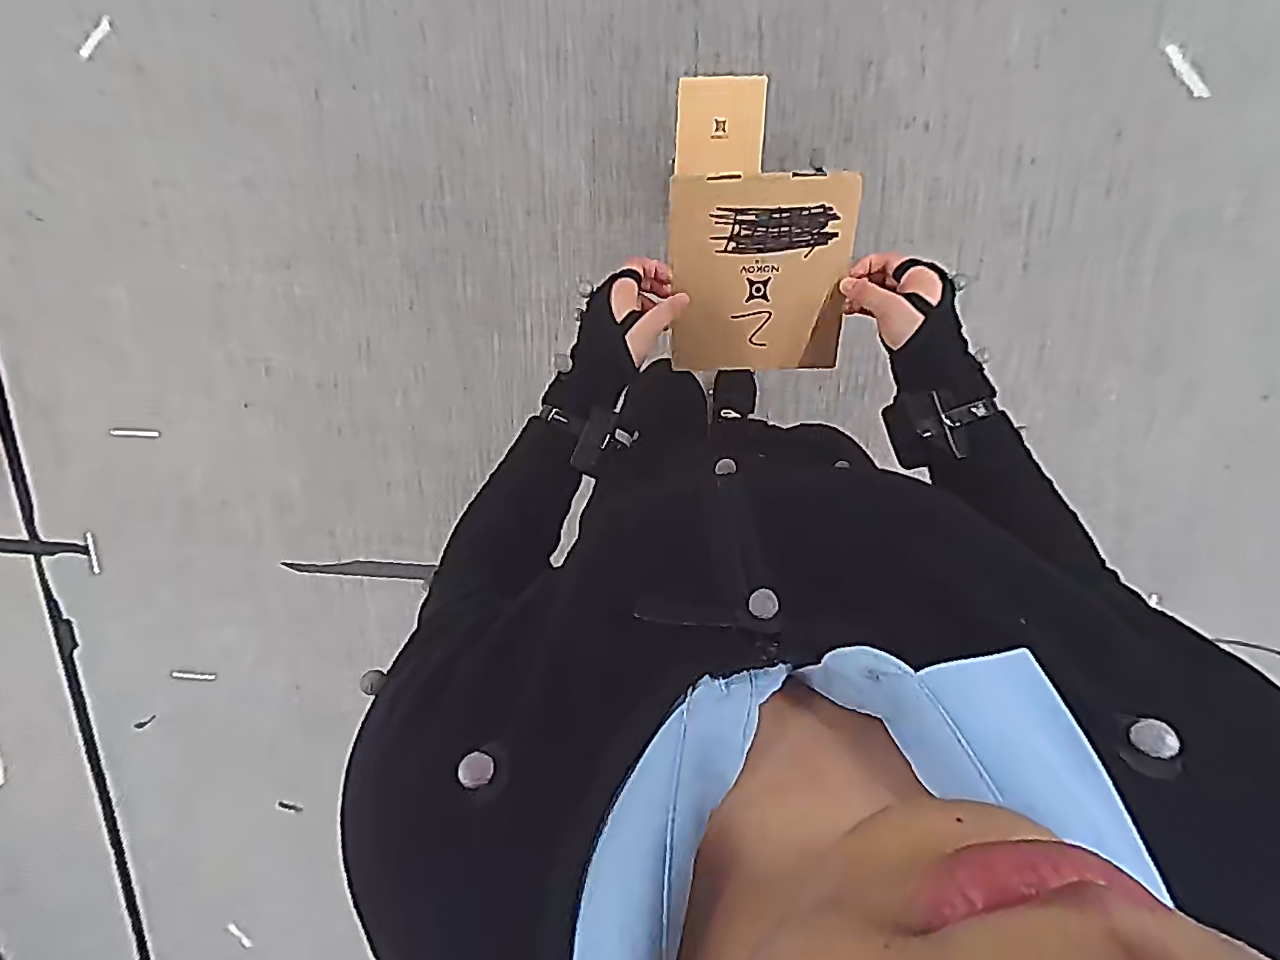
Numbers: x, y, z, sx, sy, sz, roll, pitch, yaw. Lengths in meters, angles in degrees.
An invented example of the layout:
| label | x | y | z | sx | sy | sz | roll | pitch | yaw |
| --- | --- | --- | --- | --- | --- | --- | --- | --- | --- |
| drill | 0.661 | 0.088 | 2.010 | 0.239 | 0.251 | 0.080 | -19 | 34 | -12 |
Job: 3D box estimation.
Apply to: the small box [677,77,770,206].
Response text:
| label | x | y | z | sx | sy | sz | roll | pitch | yaw |
| --- | --- | --- | --- | --- | --- | --- | --- | --- | --- |
| small box | 0.160 | -0.671 | 1.088 | 0.168 | 0.176 | 0.179 | 3 | 103 | 4 |

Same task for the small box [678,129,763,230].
| label | x | y | z | sx | sy | sz | roll | pitch | yaw |
| --- | --- | --- | --- | --- | --- | --- | --- | --- | --- |
| small box | 0.180 | -0.700 | 1.247 | 0.168 | 0.176 | 0.179 | -10 | 102 | 7 |
